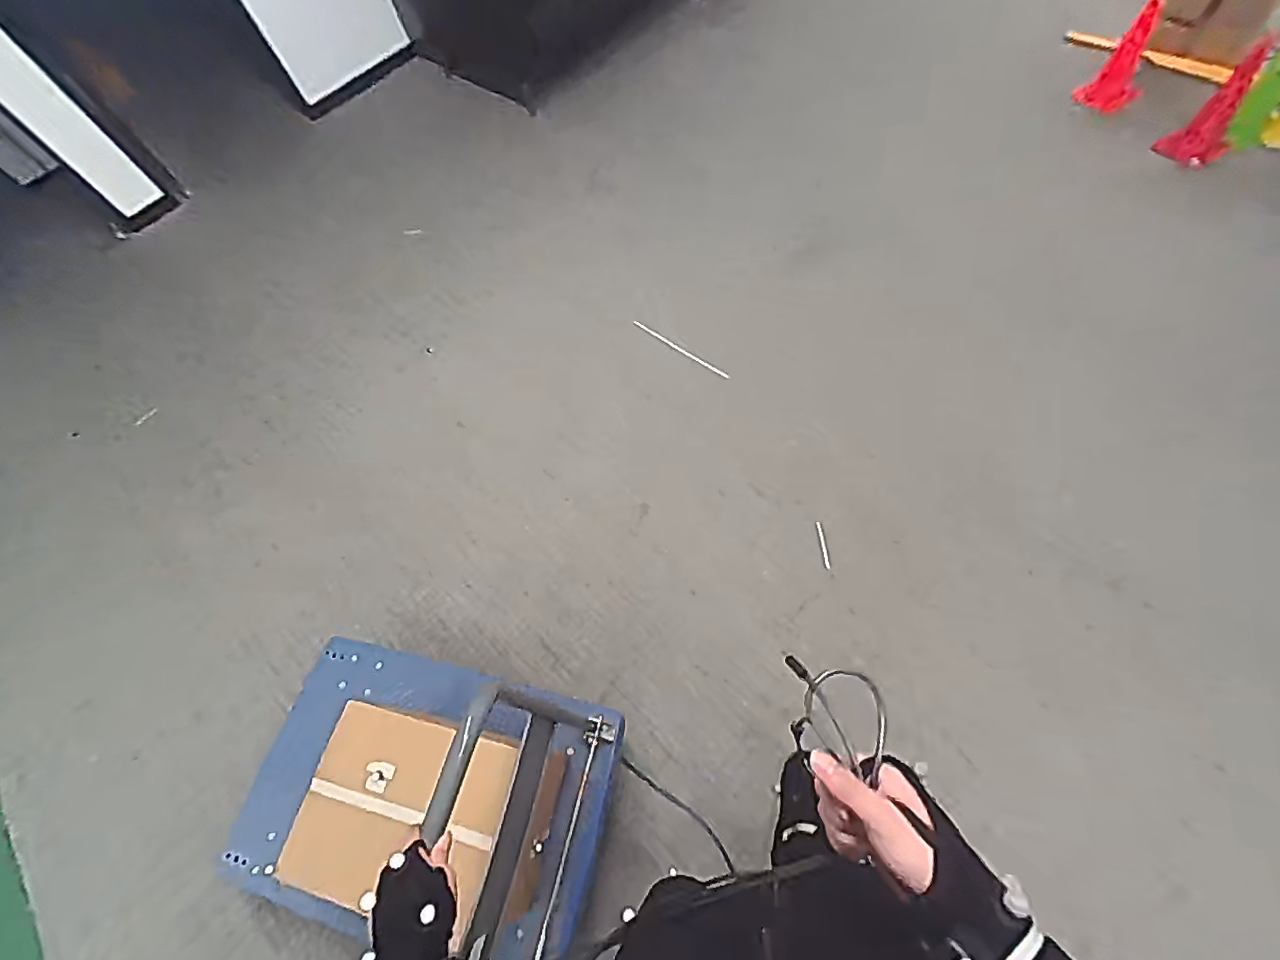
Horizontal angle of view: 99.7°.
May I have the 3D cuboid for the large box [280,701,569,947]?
[{"bbox_3d":[-0.410,0.679,1.128,0.408,0.320,0.320,8,64,16],"label":"large box"}]
